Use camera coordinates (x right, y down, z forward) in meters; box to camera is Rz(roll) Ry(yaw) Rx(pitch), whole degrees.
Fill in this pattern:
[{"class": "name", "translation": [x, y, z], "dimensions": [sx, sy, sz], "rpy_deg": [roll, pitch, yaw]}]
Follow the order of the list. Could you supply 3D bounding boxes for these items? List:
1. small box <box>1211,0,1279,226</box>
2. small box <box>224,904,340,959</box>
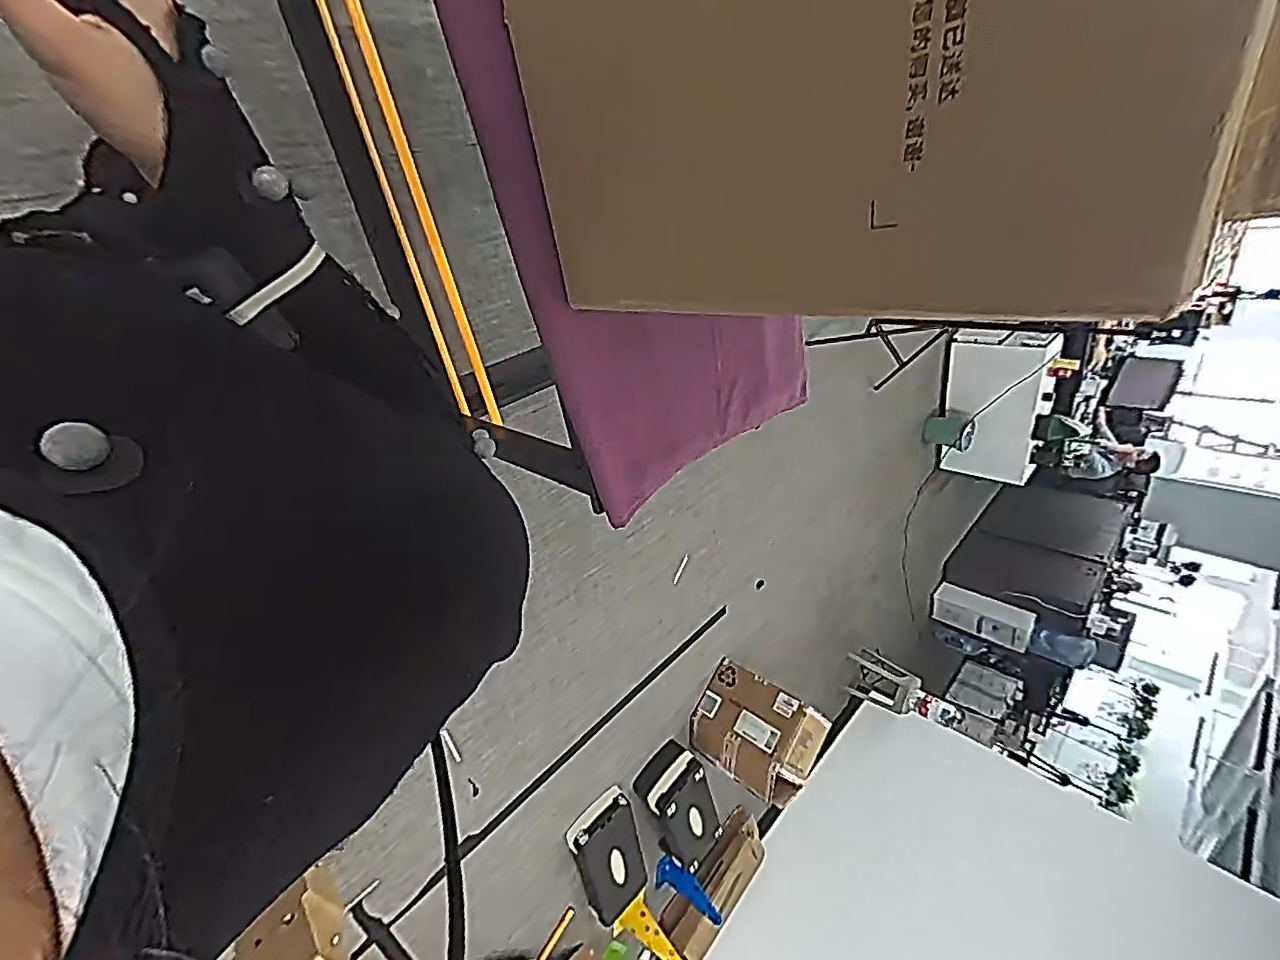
[{"class": "small box", "translation": [0.568, -0.301, 0.404], "dimensions": [0.168, 0.176, 0.179], "rpy_deg": [-36, 126, -32]}, {"class": "small box", "translation": [-0.827, 1.140, 1.253], "dimensions": [0.168, 0.176, 0.179], "rpy_deg": [-37, 128, -30]}]
